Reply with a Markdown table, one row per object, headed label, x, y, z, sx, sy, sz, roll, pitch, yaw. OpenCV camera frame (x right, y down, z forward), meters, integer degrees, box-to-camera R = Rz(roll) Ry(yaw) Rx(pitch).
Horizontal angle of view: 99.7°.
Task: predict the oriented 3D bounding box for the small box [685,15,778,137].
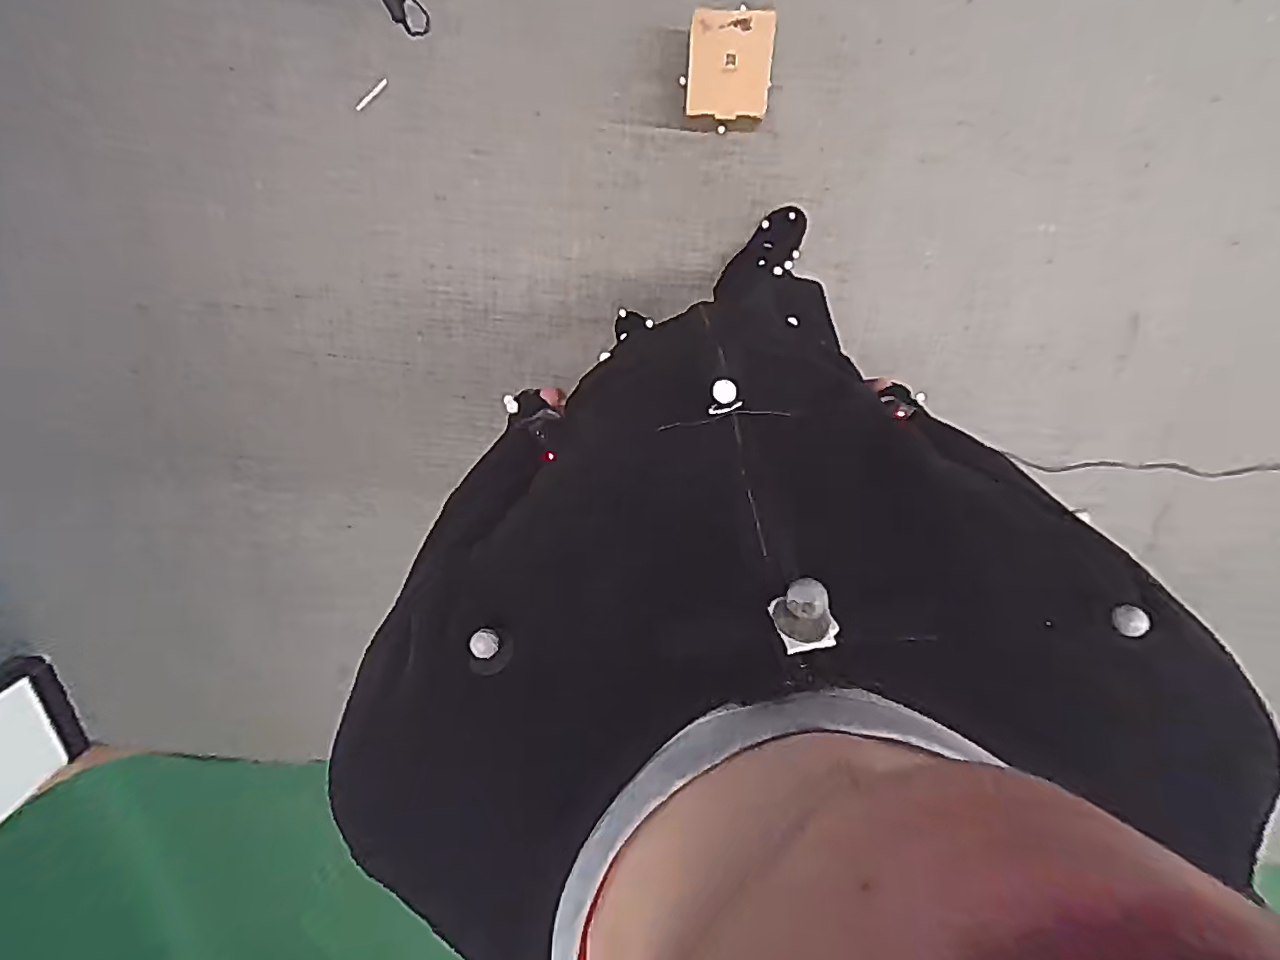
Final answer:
| label | x | y | z | sx | sy | sz | roll | pitch | yaw |
| --- | --- | --- | --- | --- | --- | --- | --- | --- | --- |
| small box | 0.185 | -0.843 | 1.145 | 0.168 | 0.176 | 0.179 | 4 | 114 | 1 |
